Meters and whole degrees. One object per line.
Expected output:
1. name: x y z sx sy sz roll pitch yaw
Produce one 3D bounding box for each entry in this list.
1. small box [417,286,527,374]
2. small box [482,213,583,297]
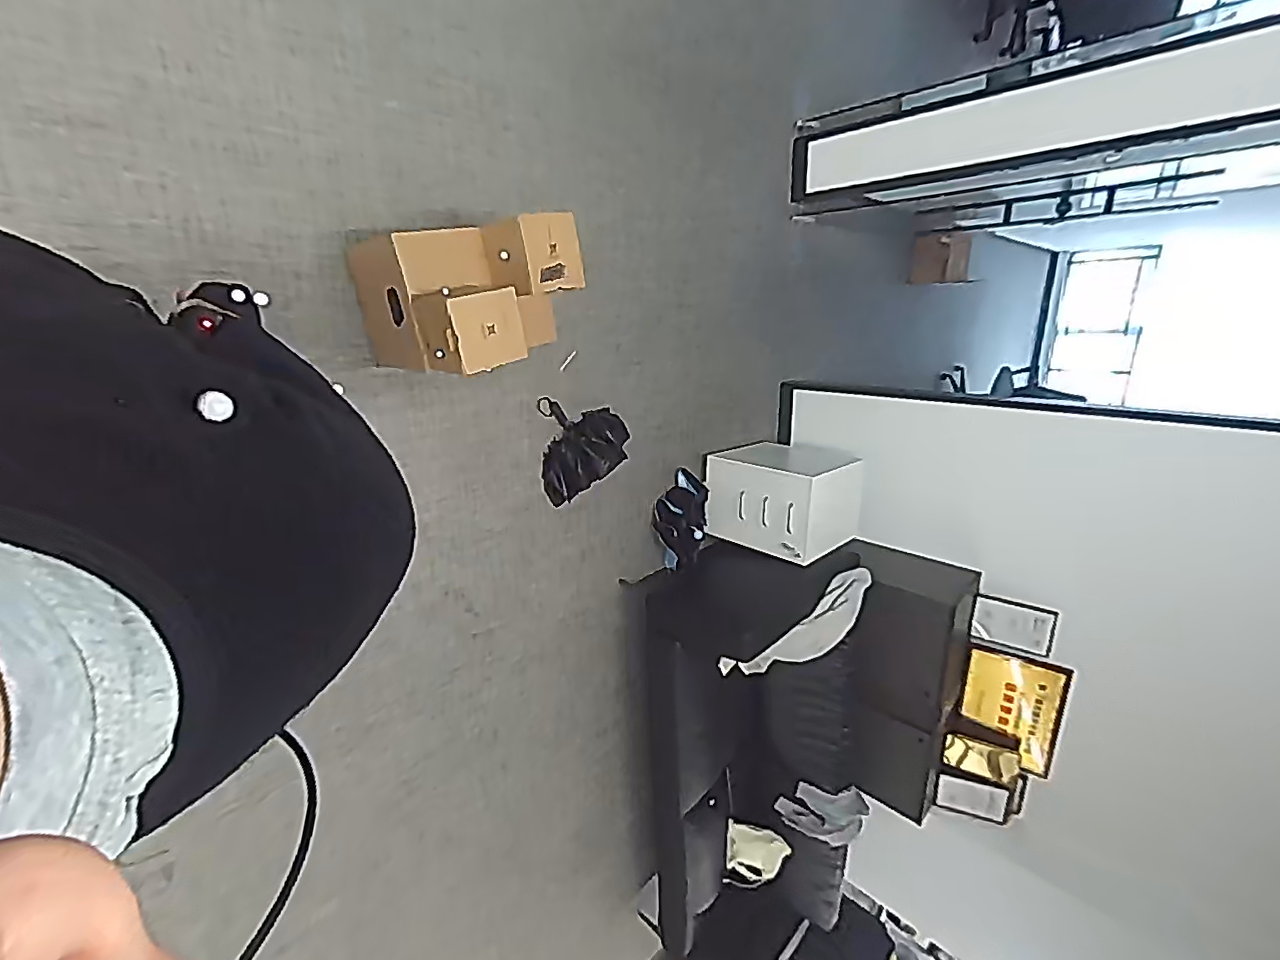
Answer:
1. small box: -0.397 -0.354 1.264 0.179 0.176 0.168 -31 125 -39
2. small box: -0.267 -0.554 1.344 0.168 0.176 0.179 -26 116 -40
